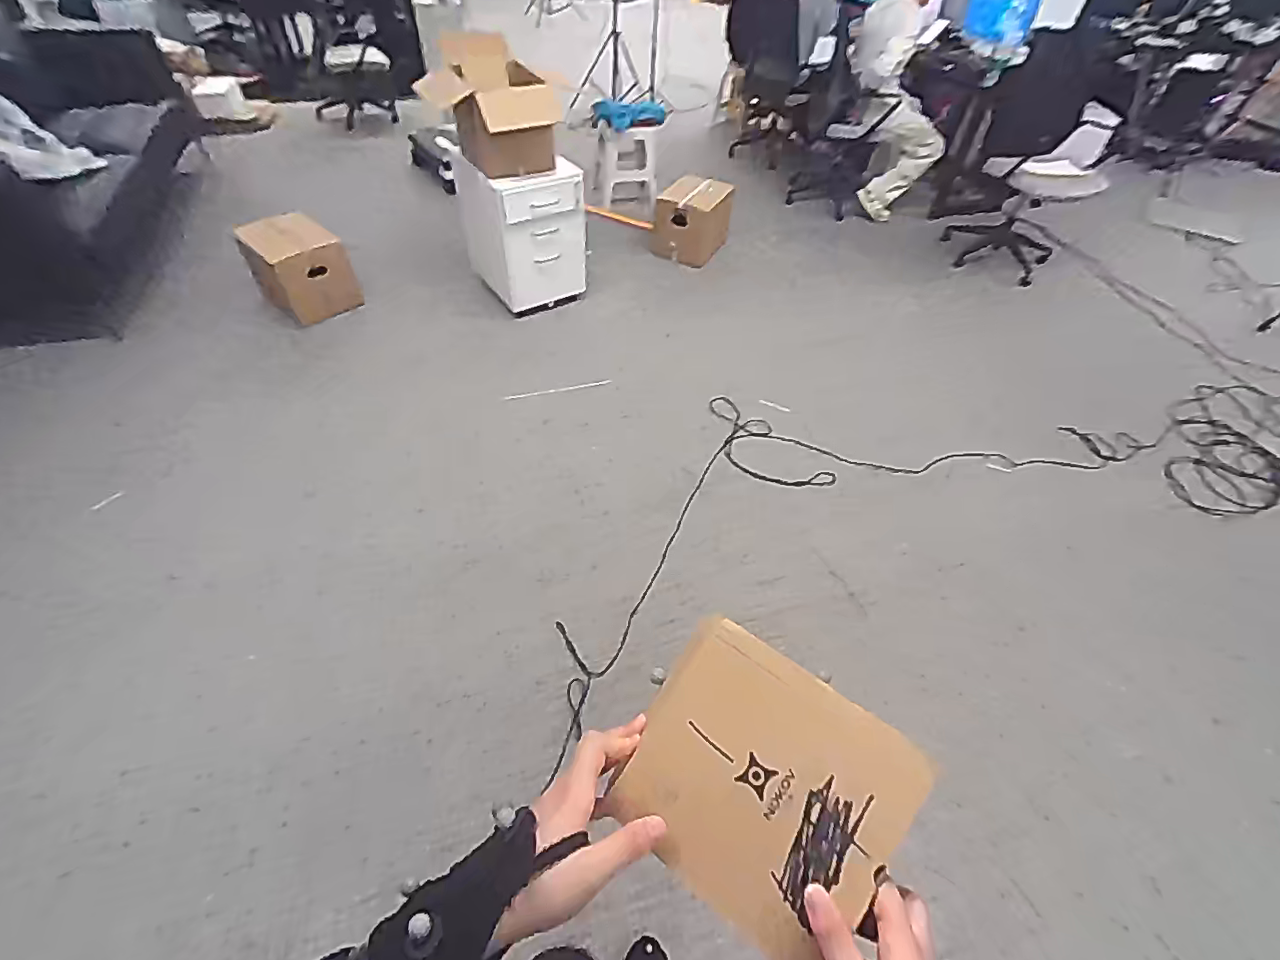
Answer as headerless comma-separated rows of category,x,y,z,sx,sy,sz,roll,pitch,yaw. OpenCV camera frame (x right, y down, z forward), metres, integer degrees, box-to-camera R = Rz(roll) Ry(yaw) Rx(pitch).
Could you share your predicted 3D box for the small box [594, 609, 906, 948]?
small box,0.084,0.229,0.472,0.179,0.176,0.168,32,78,10
